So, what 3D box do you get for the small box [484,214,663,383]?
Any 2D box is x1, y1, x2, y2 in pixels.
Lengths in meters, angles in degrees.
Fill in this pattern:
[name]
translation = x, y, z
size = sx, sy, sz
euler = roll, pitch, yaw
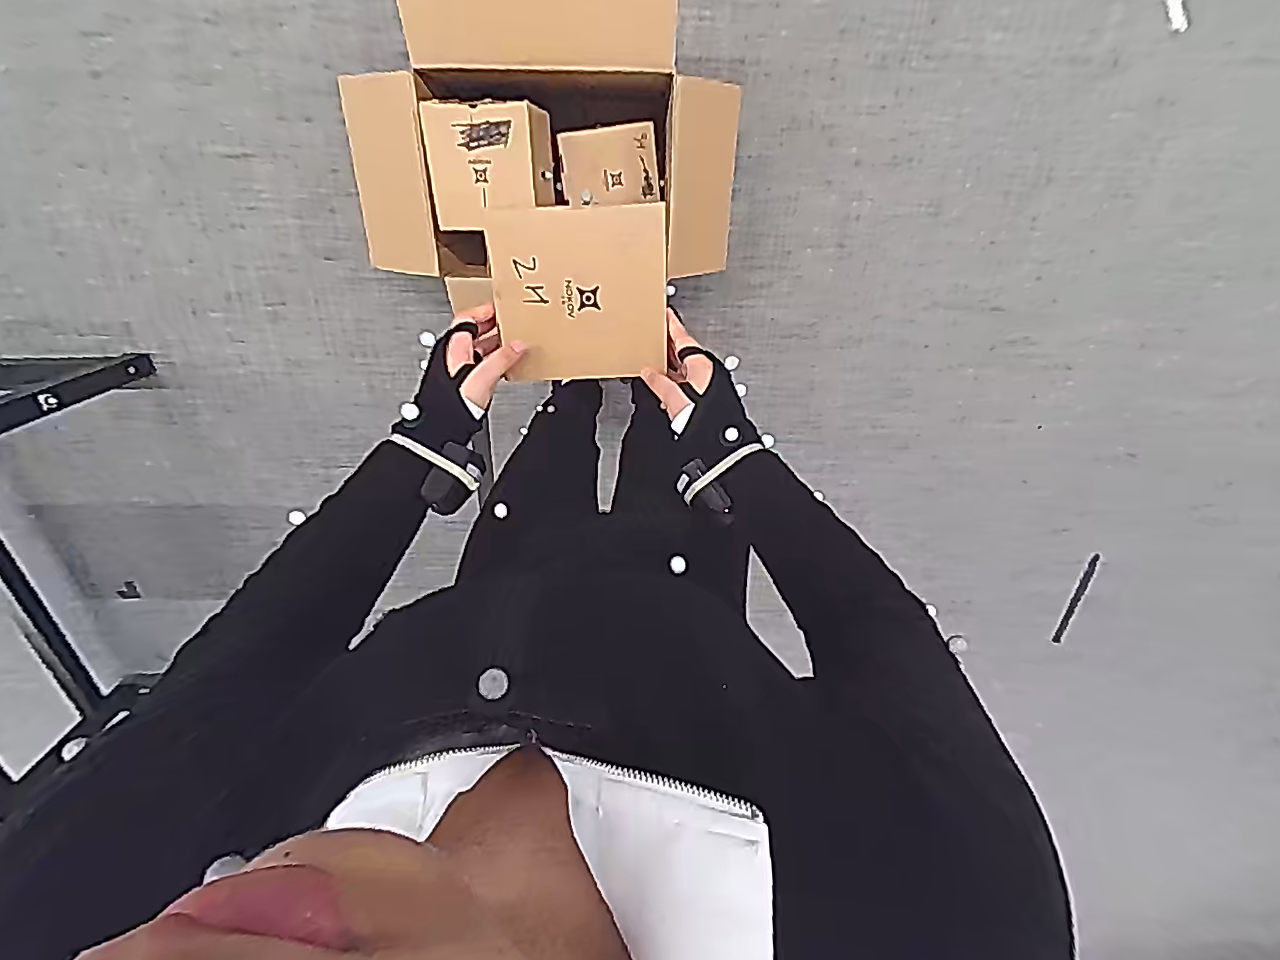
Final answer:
[small box]
translation = -0.067, -0.217, 0.628
size = 0.179, 0.176, 0.168
euler = -2, 115, -1
